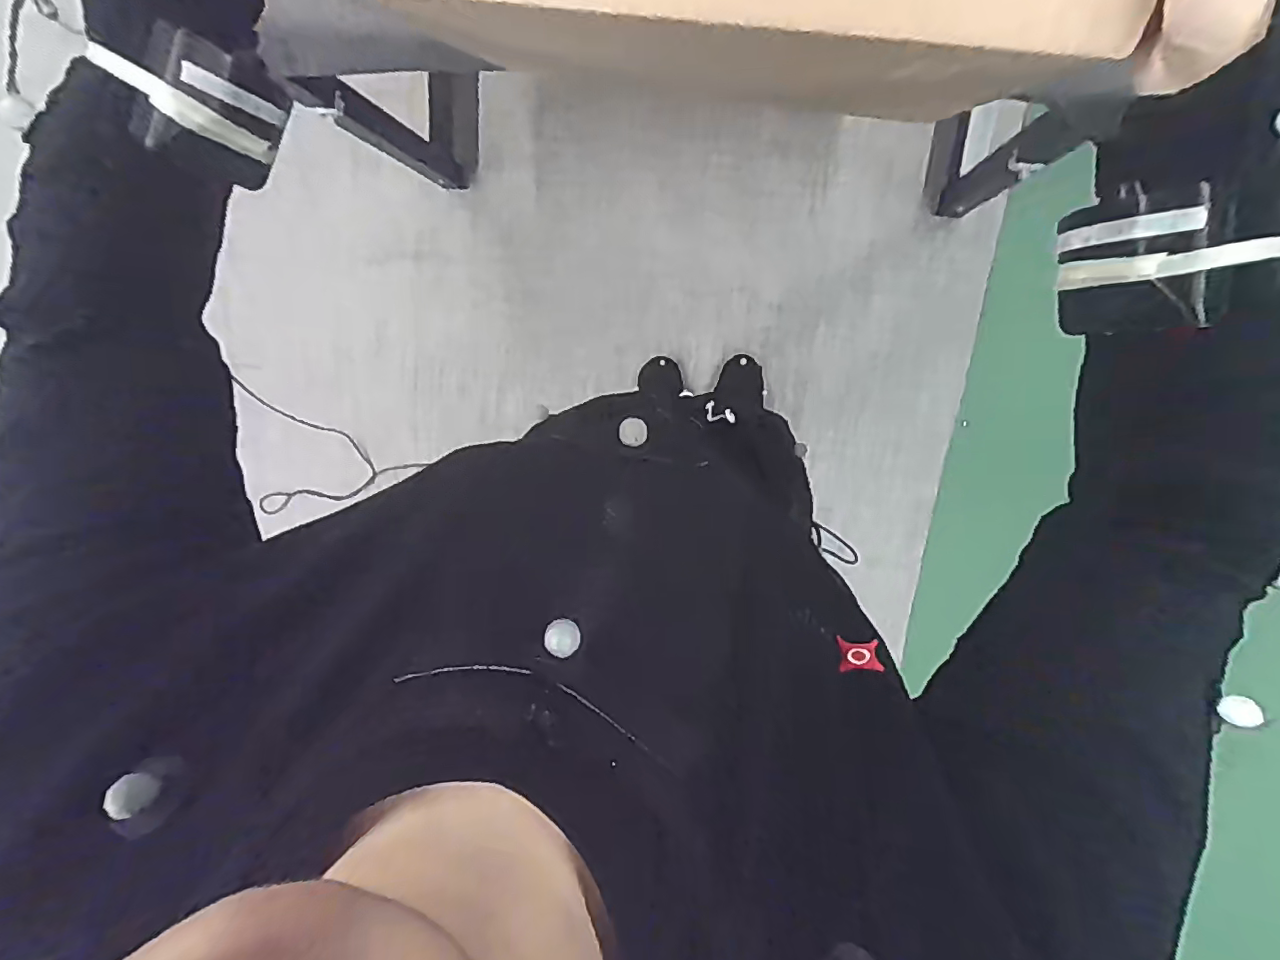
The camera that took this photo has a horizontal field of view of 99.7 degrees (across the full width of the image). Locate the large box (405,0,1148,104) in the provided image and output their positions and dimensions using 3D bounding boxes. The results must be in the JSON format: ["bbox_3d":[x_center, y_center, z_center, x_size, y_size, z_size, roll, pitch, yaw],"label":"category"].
[{"bbox_3d":[0.068,-0.438,0.314,0.408,0.320,0.320,10,121,5],"label":"large box"}]
